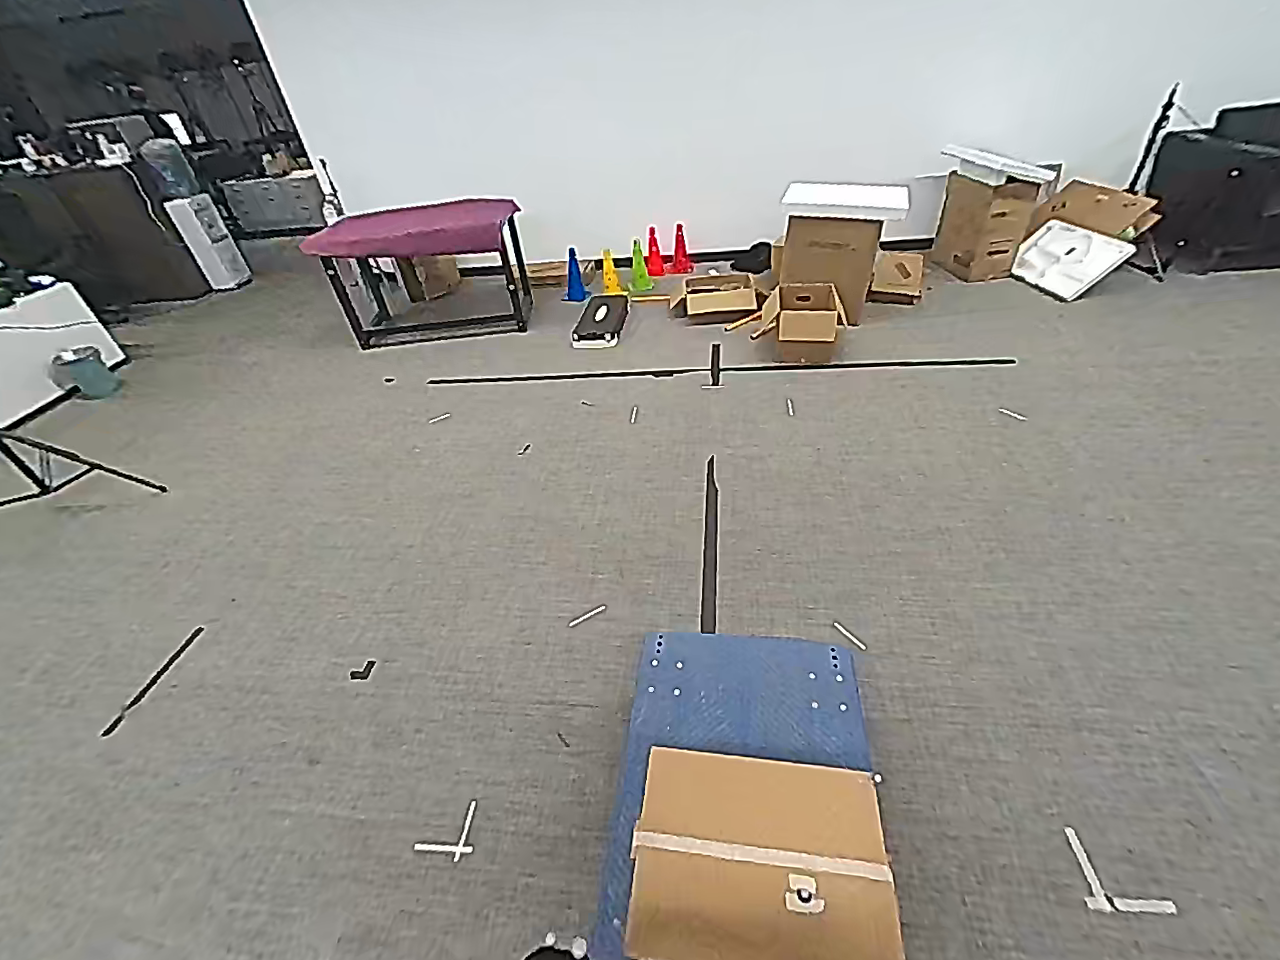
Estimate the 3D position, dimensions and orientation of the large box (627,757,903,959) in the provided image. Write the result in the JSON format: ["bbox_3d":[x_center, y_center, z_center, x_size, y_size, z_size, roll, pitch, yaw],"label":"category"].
[{"bbox_3d":[0.204,0.740,0.966,0.408,0.320,0.320,2,40,9],"label":"large box"}]
